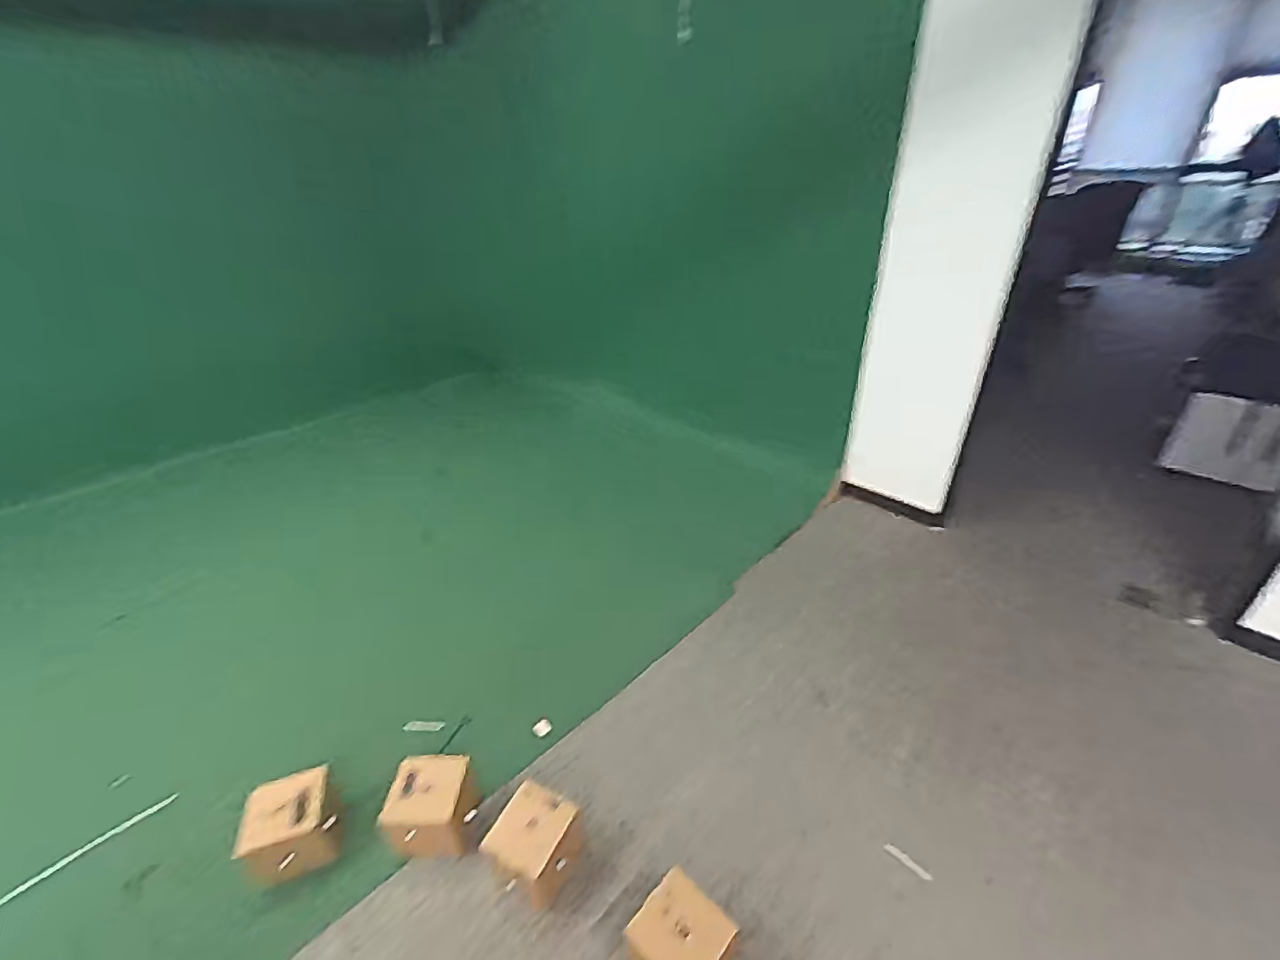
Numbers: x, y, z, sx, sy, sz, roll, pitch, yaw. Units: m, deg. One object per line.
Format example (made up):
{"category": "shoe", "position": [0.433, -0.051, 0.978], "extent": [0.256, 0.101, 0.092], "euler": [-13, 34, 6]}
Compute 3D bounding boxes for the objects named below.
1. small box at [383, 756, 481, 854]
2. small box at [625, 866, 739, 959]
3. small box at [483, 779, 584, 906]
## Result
{"category": "small box", "position": [-0.536, 0.853, 1.418], "extent": [0.179, 0.176, 0.168], "euler": [-1, 31, 2]}
{"category": "small box", "position": [0.089, 0.986, 1.148], "extent": [0.179, 0.176, 0.168], "euler": [25, 41, 37]}
{"category": "small box", "position": [-0.252, 0.892, 1.331], "extent": [0.168, 0.176, 0.179], "euler": [13, 35, 25]}
